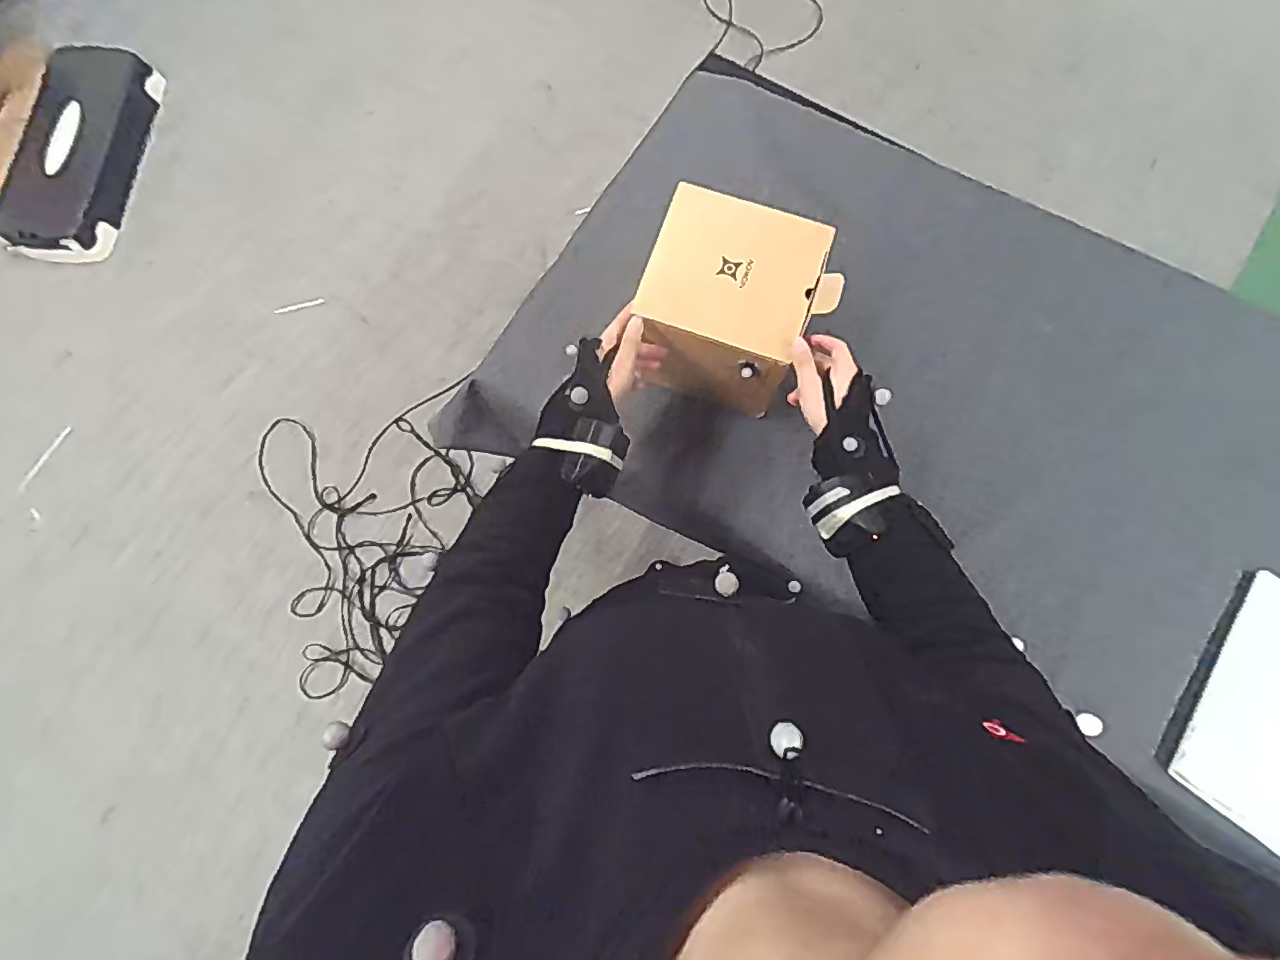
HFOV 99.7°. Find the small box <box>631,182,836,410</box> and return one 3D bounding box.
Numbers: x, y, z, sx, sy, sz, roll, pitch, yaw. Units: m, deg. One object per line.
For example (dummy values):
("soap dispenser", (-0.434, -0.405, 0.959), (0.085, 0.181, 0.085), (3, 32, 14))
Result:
("small box", (0.098, -0.200, 0.632), (0.179, 0.176, 0.168), (19, 78, 4))
